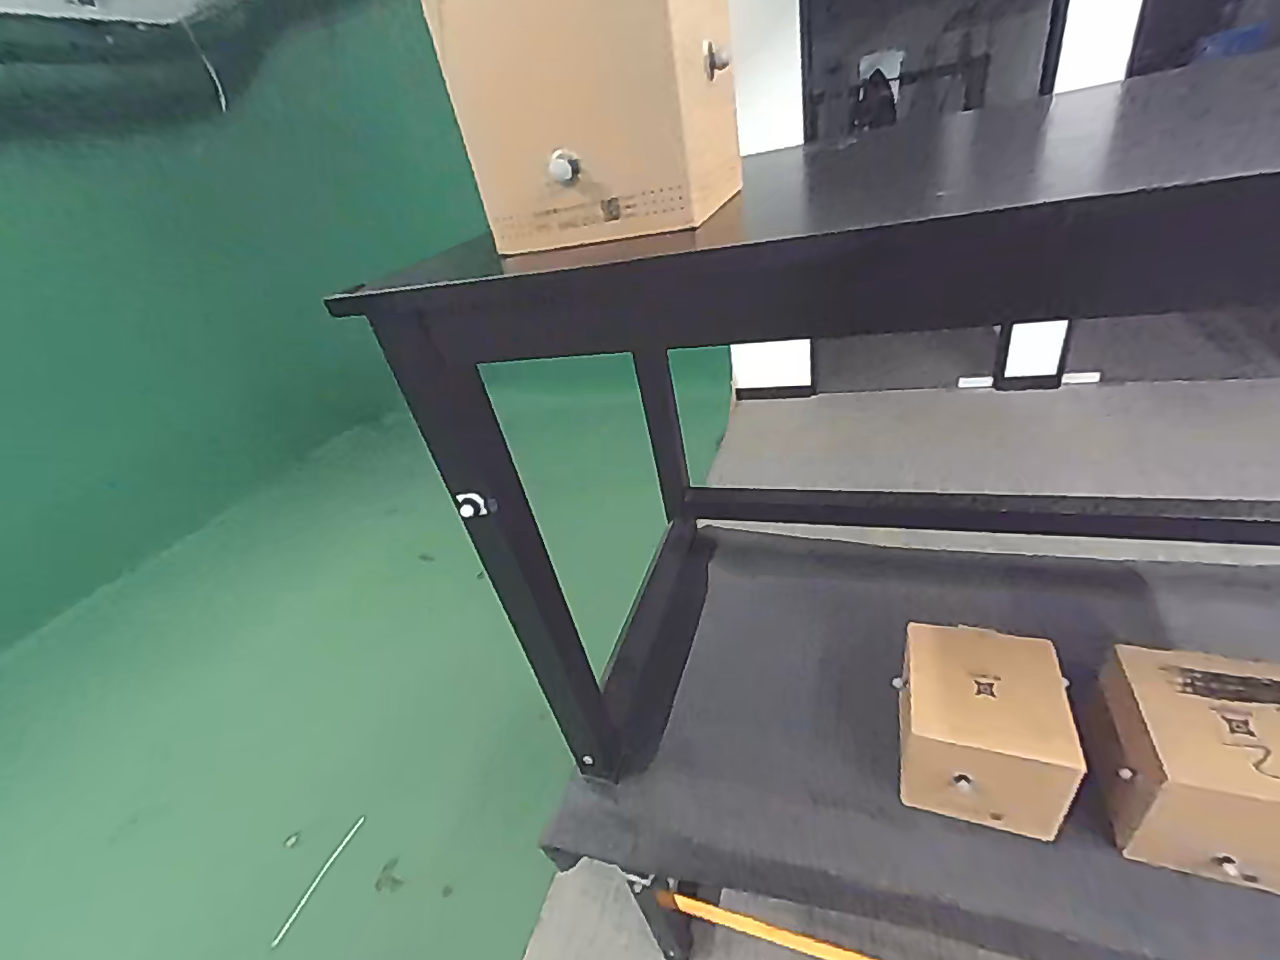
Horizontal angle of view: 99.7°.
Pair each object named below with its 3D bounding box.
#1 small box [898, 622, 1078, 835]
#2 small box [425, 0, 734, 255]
[{"bbox_3d":[0.431,0.315,0.699,0.168,0.176,0.179,2,35,24],"label":"small box"},{"bbox_3d":[-0.025,-0.288,0.425,0.168,0.176,0.179,2,36,22],"label":"small box"}]
